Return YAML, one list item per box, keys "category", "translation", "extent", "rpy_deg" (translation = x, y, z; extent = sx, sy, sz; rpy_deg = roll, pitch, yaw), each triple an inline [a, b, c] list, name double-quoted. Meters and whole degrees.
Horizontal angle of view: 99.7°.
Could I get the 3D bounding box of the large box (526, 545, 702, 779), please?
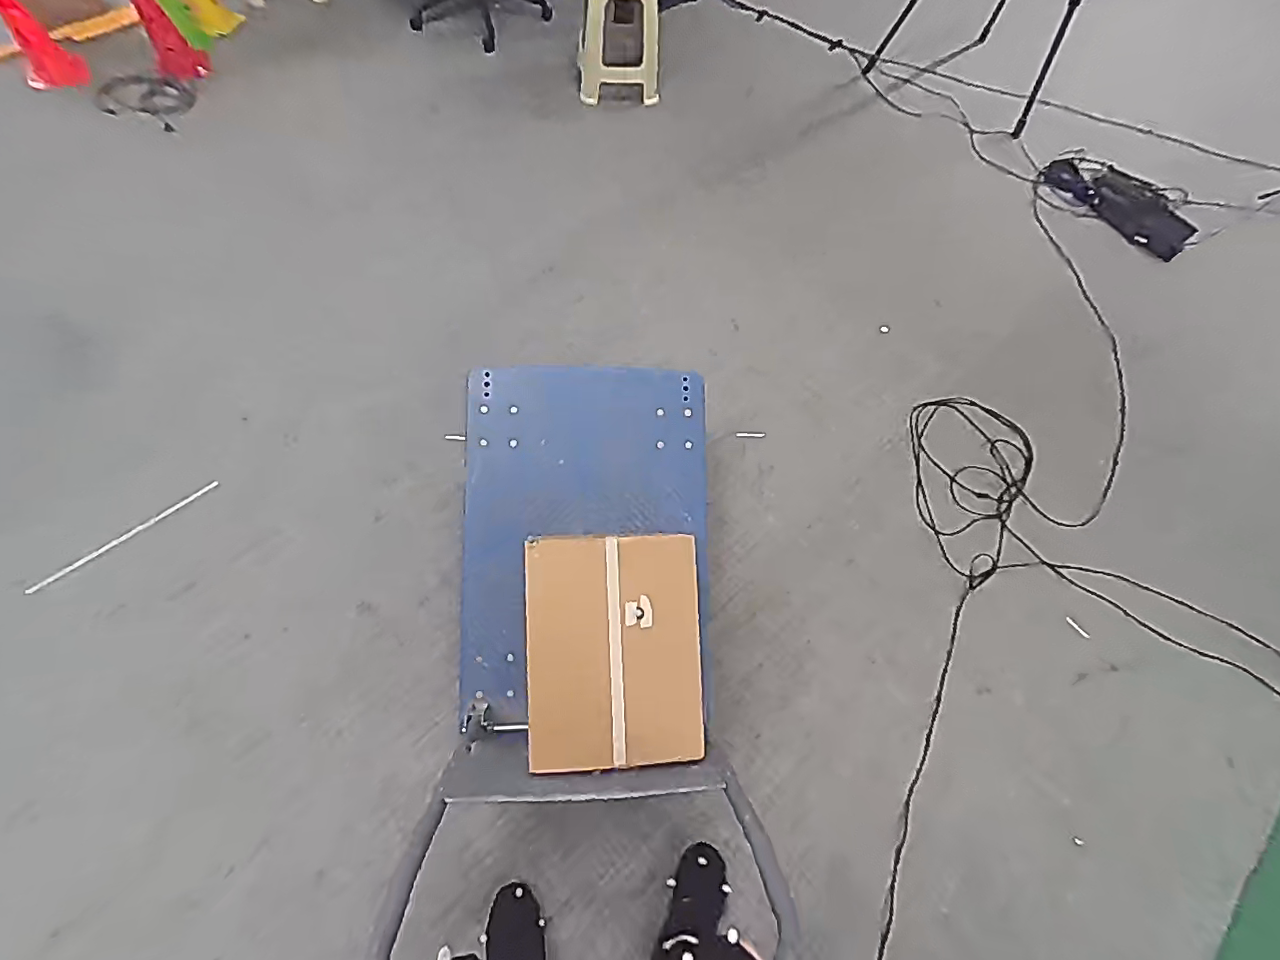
- category: "large box"
  translation: [-0.061, 0.346, 1.138]
  extent: [0.320, 0.320, 0.408]
  rpy_deg: [-1, 84, -6]
